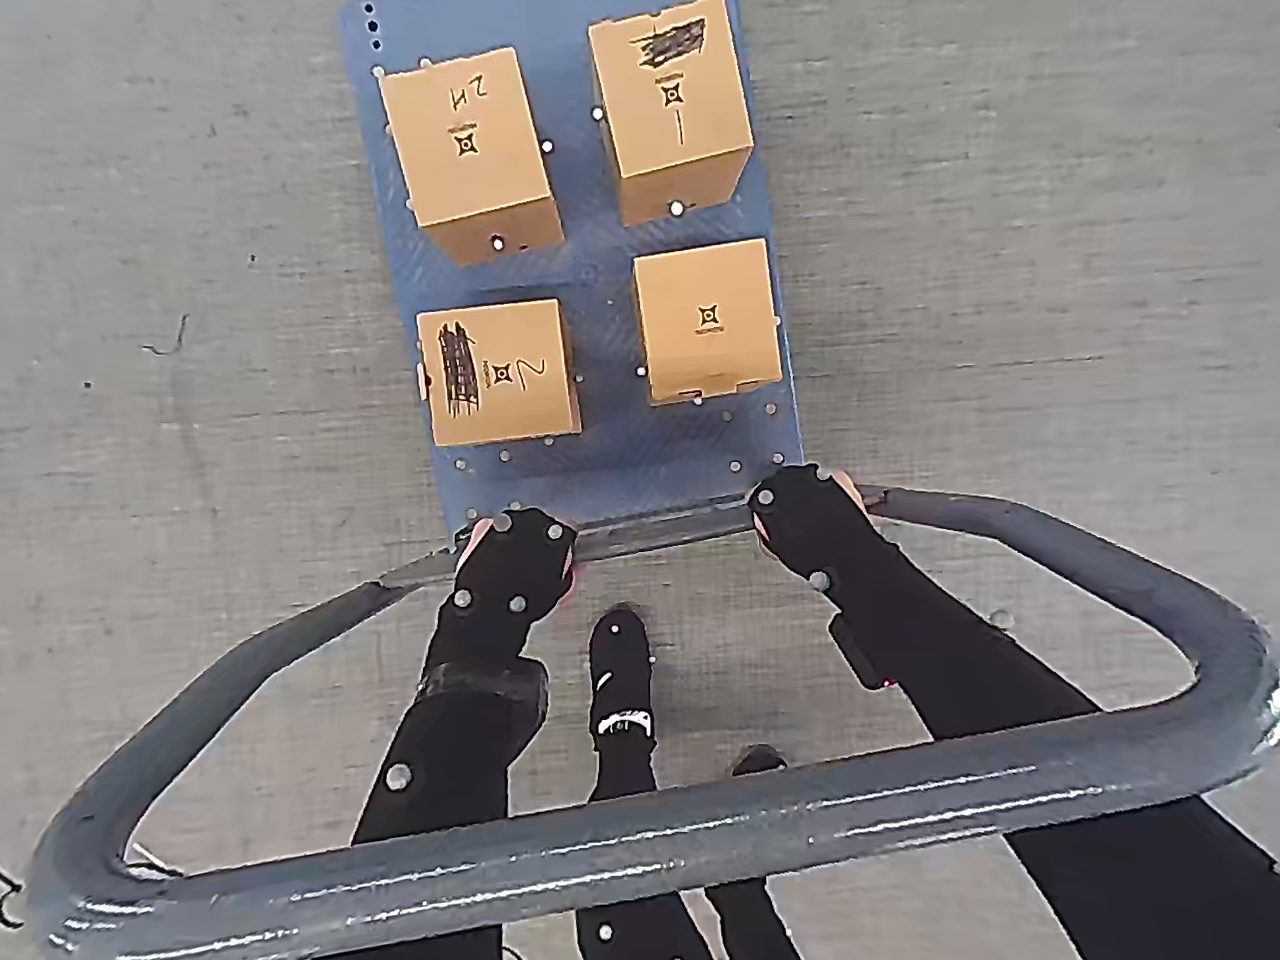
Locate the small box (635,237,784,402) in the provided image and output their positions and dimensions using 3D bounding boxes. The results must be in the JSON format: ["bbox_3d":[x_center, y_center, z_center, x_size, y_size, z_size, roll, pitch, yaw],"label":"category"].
[{"bbox_3d":[0.085,-0.208,0.746,0.168,0.176,0.179,-9,96,0],"label":"small box"}]

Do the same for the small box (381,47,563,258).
[{"bbox_3d":[-0.206,-0.413,0.717,0.168,0.176,0.179,-13,96,-1],"label":"small box"}]

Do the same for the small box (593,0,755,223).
[{"bbox_3d":[0.039,-0.473,0.716,0.168,0.176,0.179,-13,97,1],"label":"small box"}]
